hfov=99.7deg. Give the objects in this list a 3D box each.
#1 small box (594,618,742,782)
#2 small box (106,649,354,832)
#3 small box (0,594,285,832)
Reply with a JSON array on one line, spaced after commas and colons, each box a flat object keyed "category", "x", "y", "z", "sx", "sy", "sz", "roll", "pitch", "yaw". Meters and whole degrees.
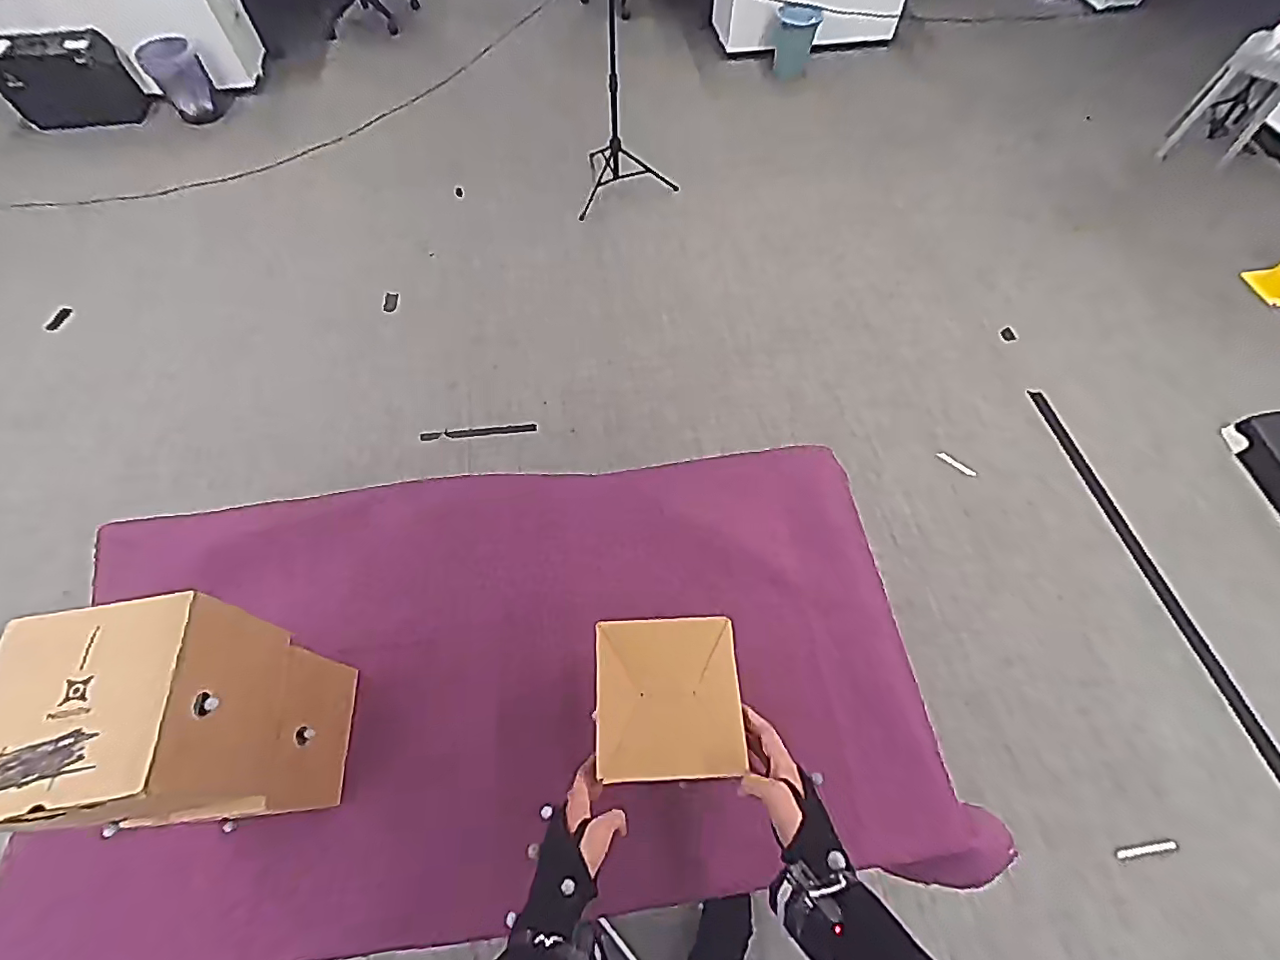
[{"category": "small box", "x": 0.030, "y": 0.285, "z": 0.697, "sx": 0.168, "sy": 0.176, "sz": 0.179, "roll": -2, "pitch": 60, "yaw": -1}, {"category": "small box", "x": -0.485, "y": 0.323, "z": 0.676, "sx": 0.168, "sy": 0.176, "sz": 0.179, "roll": -4, "pitch": 61, "yaw": -4}, {"category": "small box", "x": -0.490, "y": 0.233, "z": 0.538, "sx": 0.168, "sy": 0.176, "sz": 0.179, "roll": -8, "pitch": 60, "yaw": -5}]
